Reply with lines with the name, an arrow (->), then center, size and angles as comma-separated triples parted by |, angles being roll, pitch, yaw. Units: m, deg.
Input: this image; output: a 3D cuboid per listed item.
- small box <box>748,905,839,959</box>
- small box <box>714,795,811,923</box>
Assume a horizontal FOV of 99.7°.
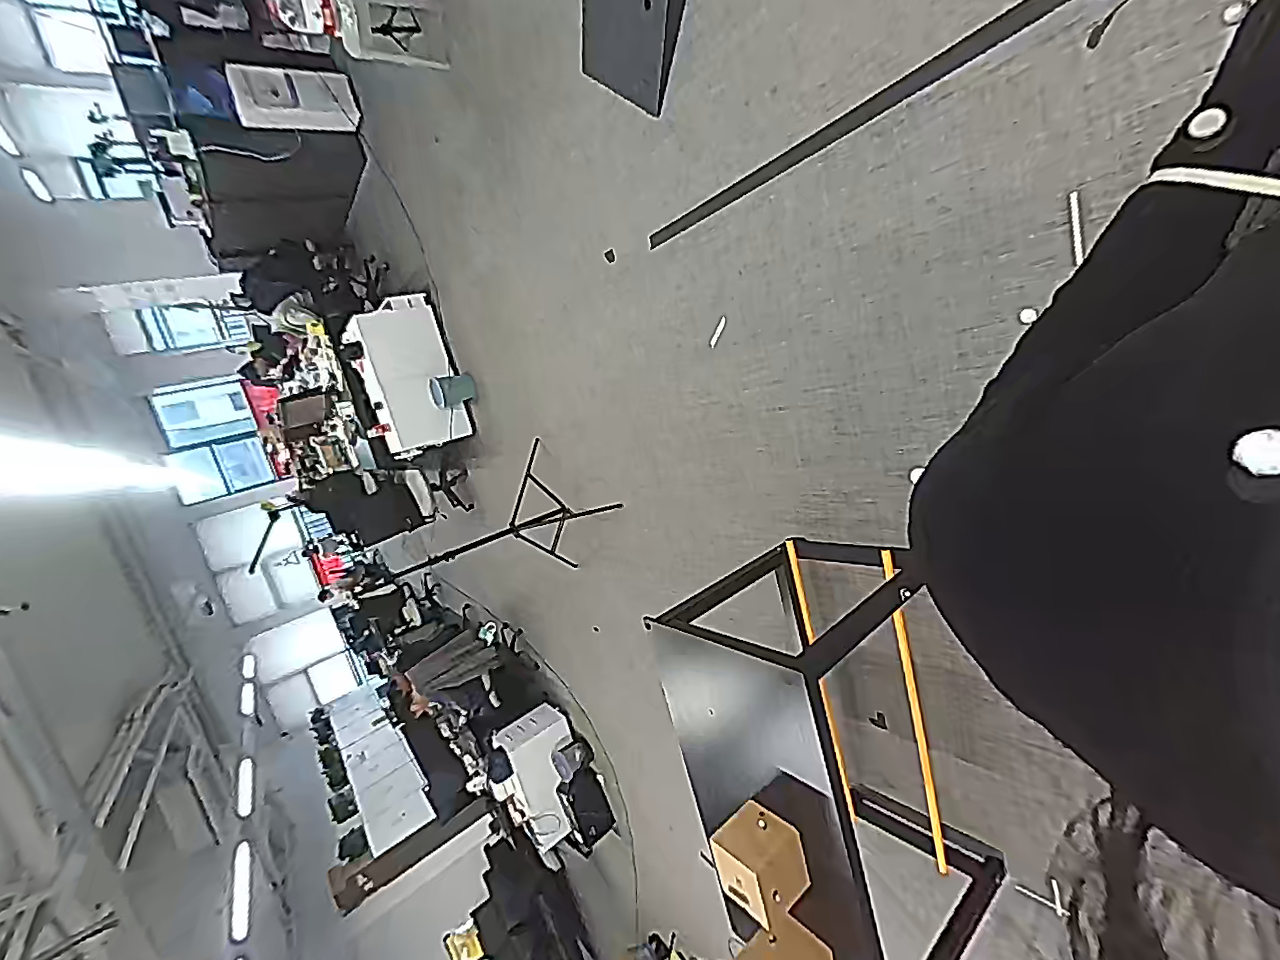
small box -> 0.428, 1.327, 1.485 | 0.179, 0.176, 0.168 | 4, 113, 53
small box -> 0.327, 0.985, 1.423 | 0.168, 0.176, 0.179 | 1, 109, 55
